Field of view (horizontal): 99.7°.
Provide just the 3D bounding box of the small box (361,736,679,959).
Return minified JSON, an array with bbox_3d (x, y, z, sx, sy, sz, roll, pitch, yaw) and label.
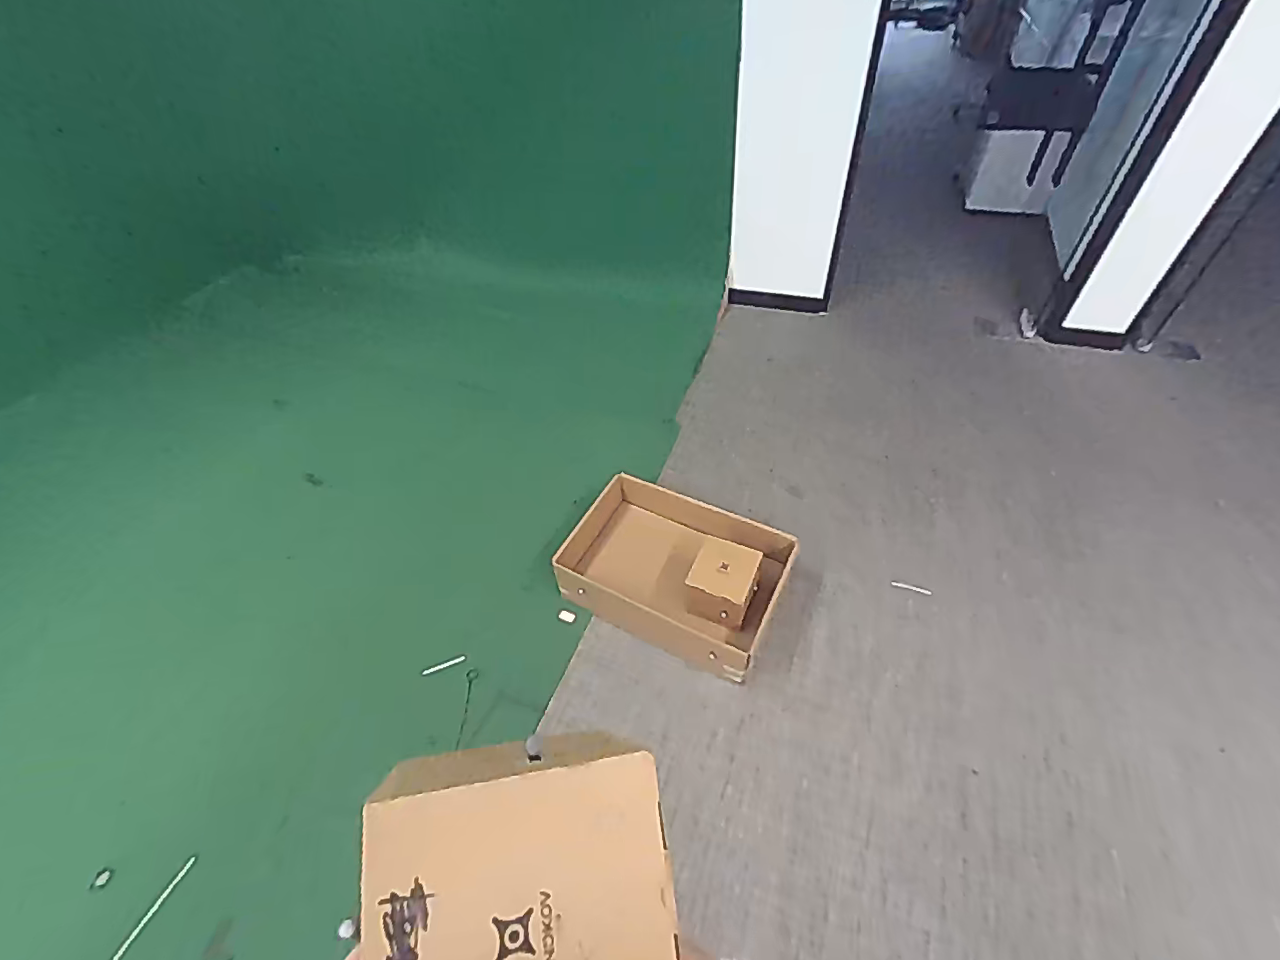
[{"bbox_3d":[-0.087,0.284,0.376,0.179,0.176,0.168,0,70,-19],"label":"small box"}]
